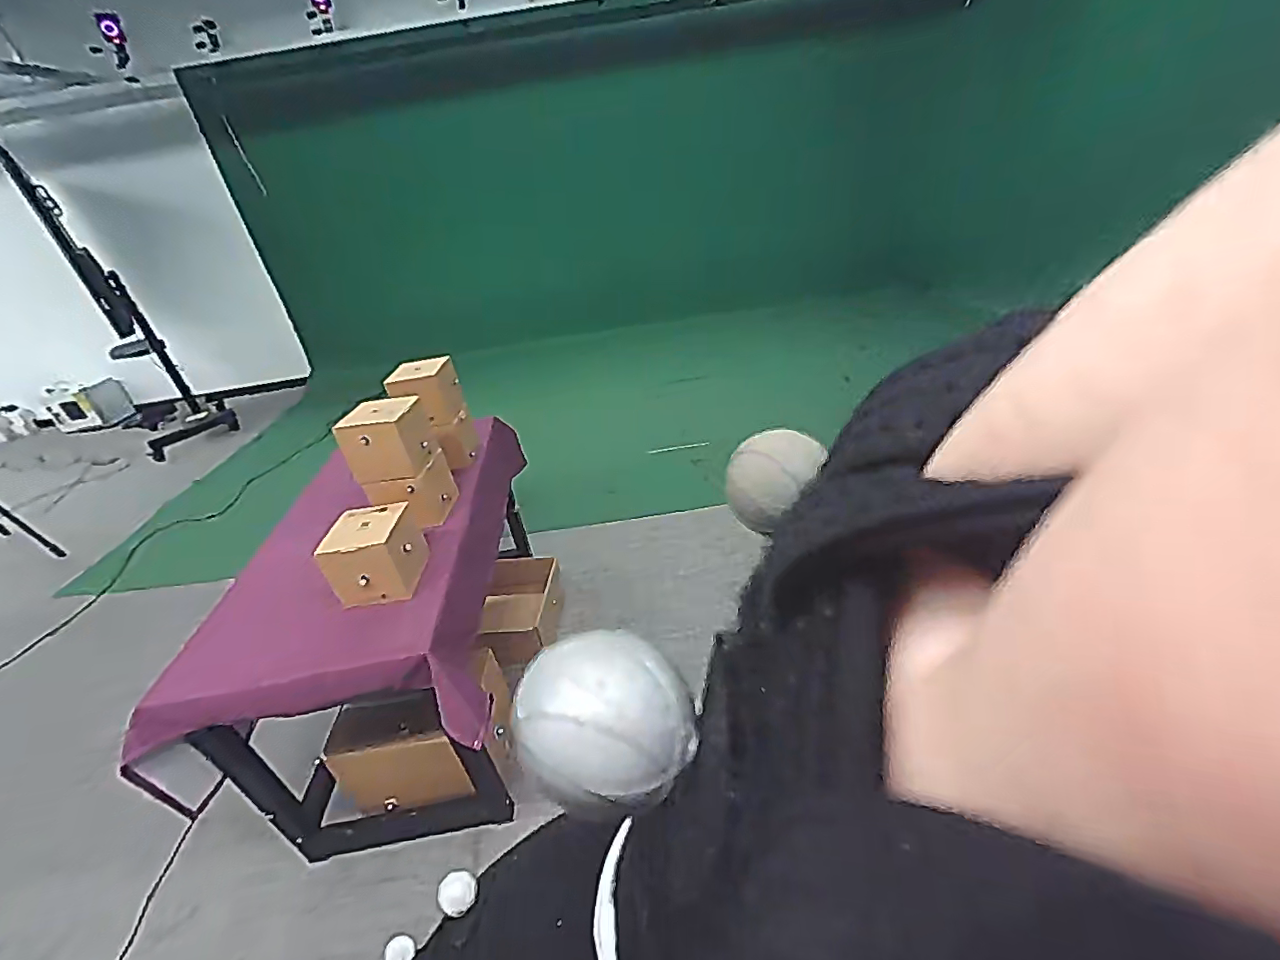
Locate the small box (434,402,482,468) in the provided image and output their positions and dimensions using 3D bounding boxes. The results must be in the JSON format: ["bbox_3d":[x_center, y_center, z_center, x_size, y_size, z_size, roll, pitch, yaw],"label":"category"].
[{"bbox_3d":[-0.657,-0.145,1.838,0.179,0.176,0.168,-9,32,2],"label":"small box"}]

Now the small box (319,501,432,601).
[{"bbox_3d":[-0.627,0.178,1.312,0.168,0.176,0.179,-8,32,2],"label":"small box"}]

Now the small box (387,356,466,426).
[{"bbox_3d":[-0.683,-0.284,1.757,0.168,0.176,0.179,-9,32,3],"label":"small box"}]

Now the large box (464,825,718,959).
[{"bbox_3d":[-0.083,1.009,1.090,0.408,0.320,0.320,11,36,31],"label":"large box"}]

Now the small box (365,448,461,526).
[{"bbox_3d":[-0.648,0.026,1.567,0.179,0.176,0.168,-6,32,6],"label":"small box"}]

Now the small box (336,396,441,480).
[{"bbox_3d":[-0.679,-0.112,1.482,0.179,0.176,0.168,-5,32,7],"label":"small box"}]
